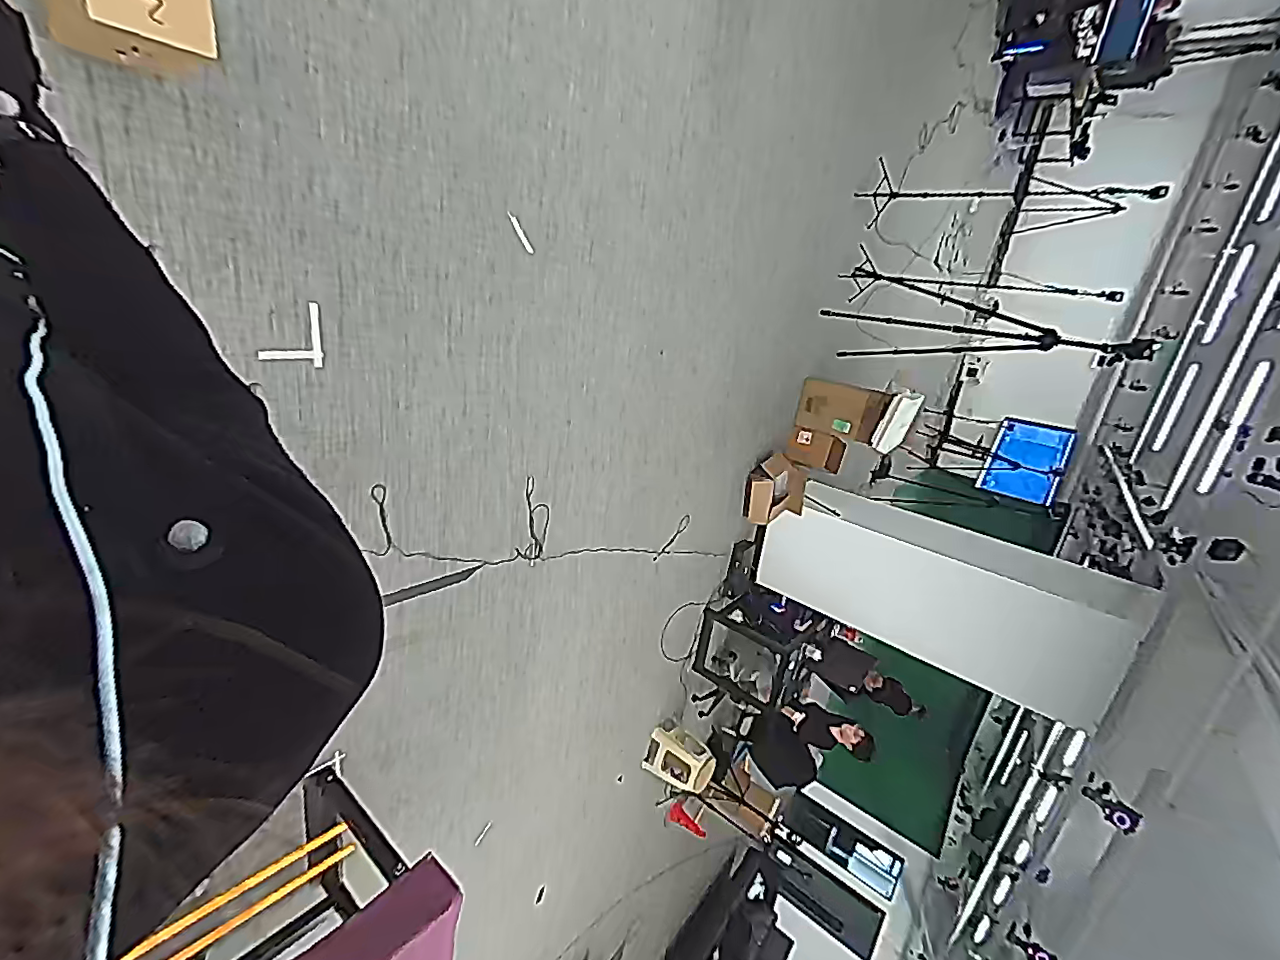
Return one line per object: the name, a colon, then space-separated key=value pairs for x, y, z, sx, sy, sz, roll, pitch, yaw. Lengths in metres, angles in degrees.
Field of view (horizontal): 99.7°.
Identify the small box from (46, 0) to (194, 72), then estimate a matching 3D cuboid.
small box: x=-0.969 y=-0.885 z=1.000 sx=0.179 sy=0.176 sz=0.168 roll=-18 pitch=122 yaw=-50
